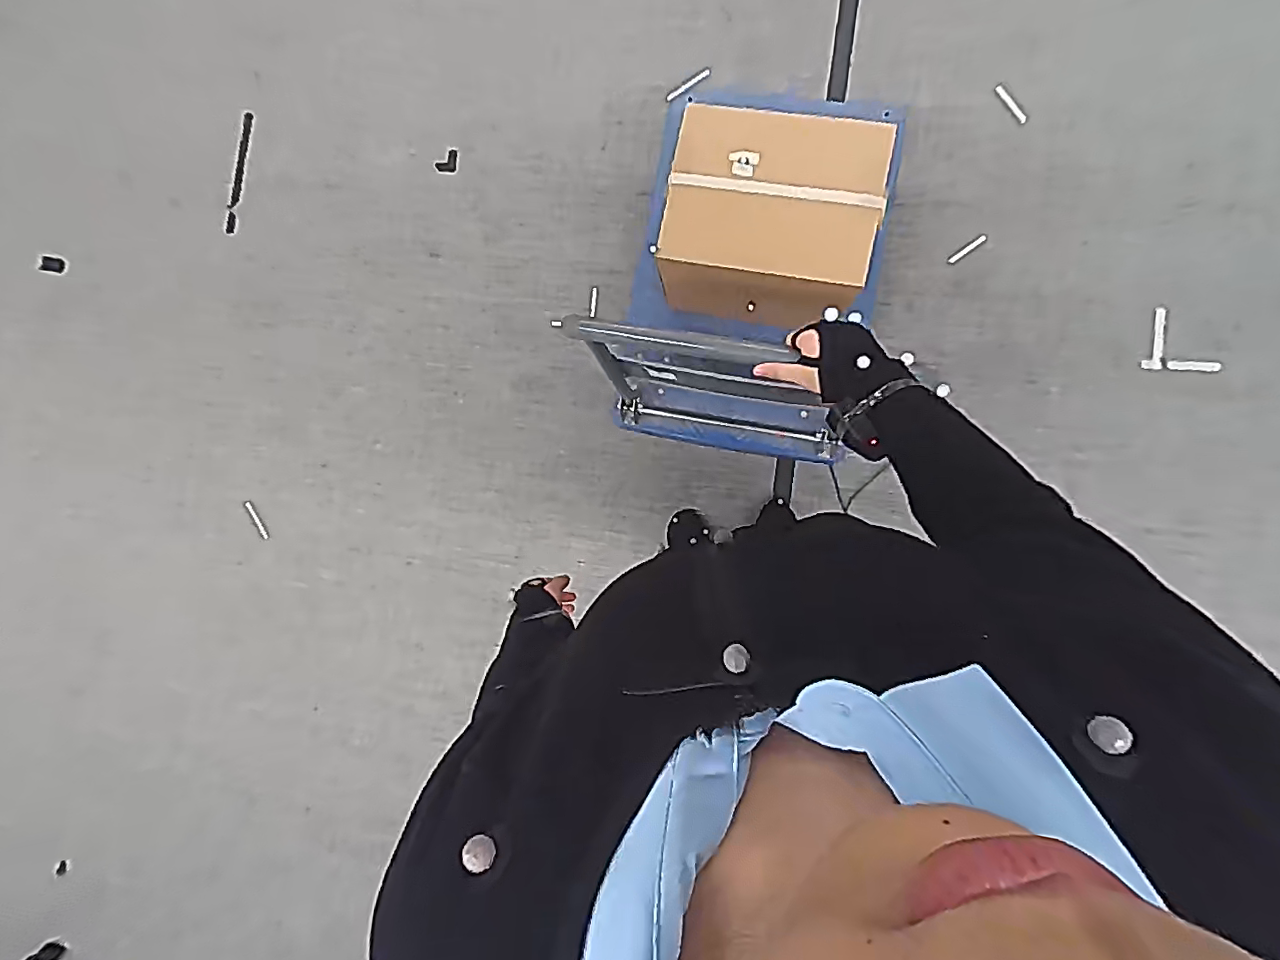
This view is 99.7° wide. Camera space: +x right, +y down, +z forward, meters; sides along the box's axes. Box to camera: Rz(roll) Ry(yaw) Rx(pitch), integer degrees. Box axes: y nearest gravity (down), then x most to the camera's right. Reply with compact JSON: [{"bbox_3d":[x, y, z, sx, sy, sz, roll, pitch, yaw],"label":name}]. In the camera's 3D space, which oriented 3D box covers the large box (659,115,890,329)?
[{"bbox_3d":[0.283,-0.547,1.199,0.408,0.320,0.320,11,89,10],"label":"large box"}]
